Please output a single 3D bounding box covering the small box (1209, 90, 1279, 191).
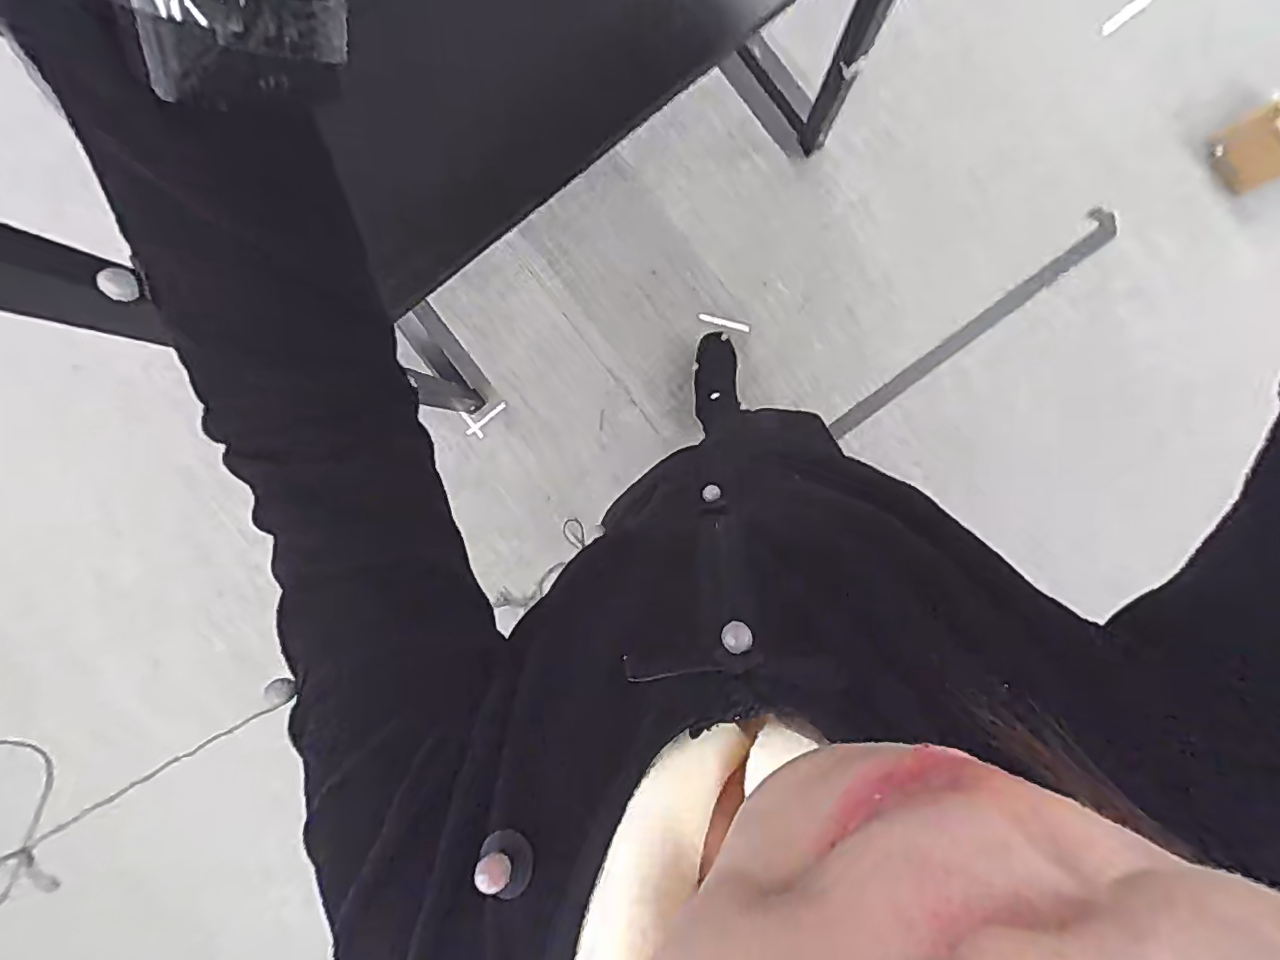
[{"bbox_3d":[1.541,-0.838,1.295,0.179,0.176,0.168,-36,91,3],"label":"small box"}]
